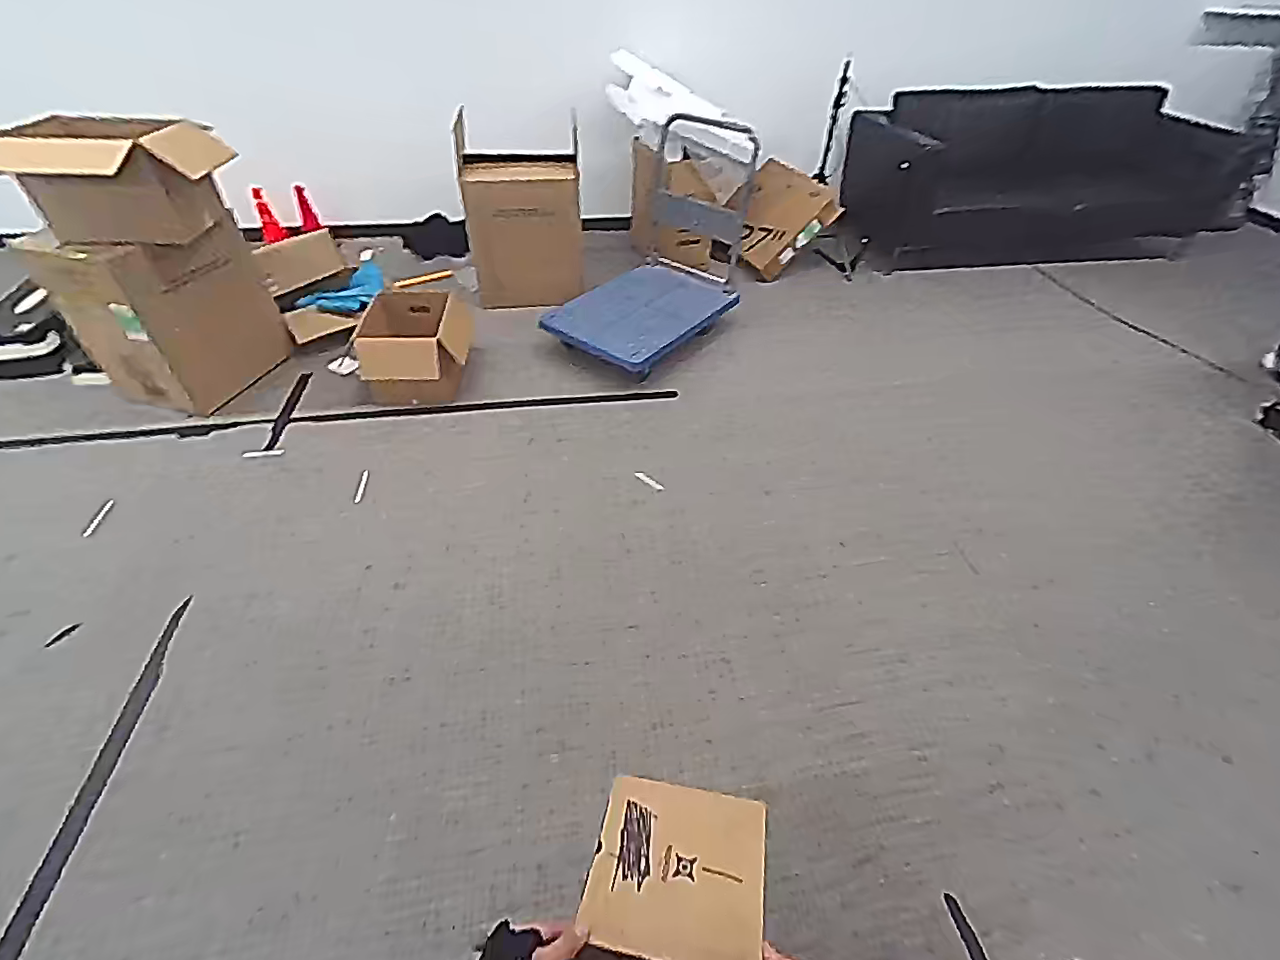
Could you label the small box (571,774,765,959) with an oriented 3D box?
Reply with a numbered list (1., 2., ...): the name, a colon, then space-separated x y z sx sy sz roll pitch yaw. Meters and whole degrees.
1. small box: 0.040 0.458 0.583 0.179 0.176 0.168 4 28 12
